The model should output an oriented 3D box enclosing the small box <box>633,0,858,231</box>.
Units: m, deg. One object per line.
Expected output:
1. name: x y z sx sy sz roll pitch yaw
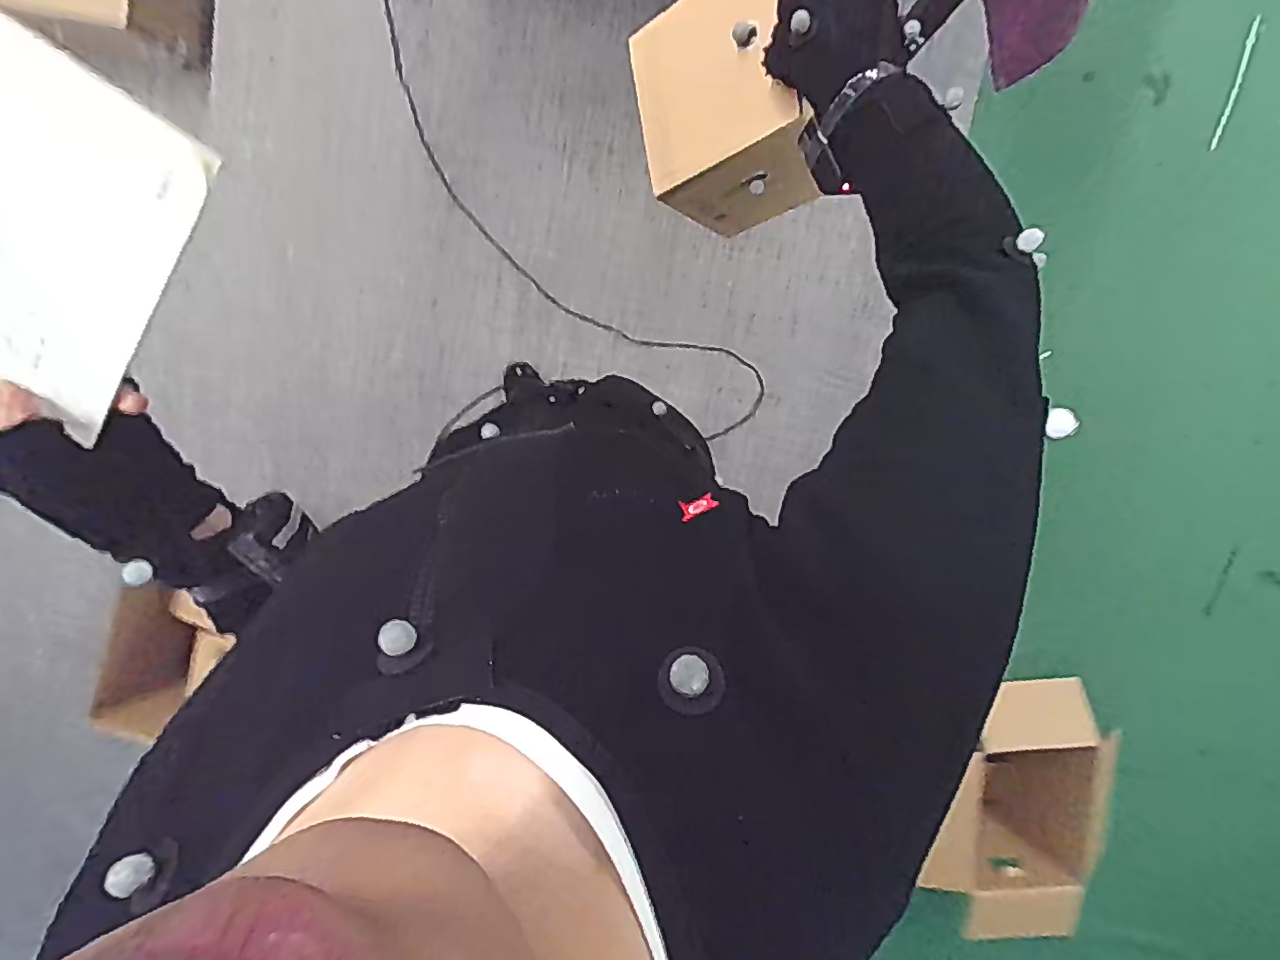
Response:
1. small box: 0.113 -0.400 0.580 0.176 0.168 0.179 -10 88 37
